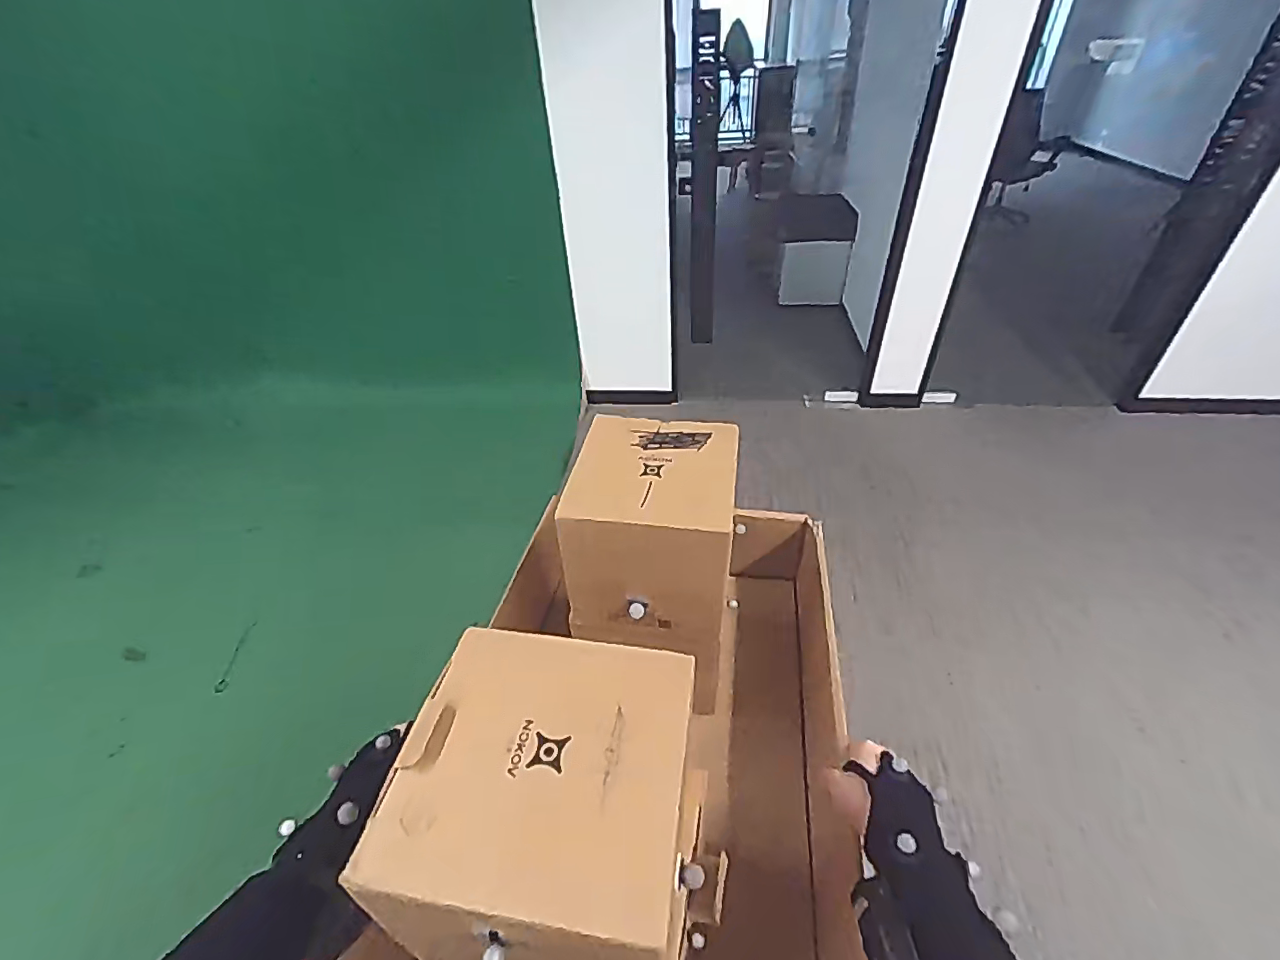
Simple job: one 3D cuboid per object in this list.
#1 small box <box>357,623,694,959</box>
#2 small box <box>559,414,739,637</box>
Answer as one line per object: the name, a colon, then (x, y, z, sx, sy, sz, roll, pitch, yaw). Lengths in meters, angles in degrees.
small box: (-0.057, 0.231, 0.394, 0.179, 0.176, 0.168, 5, 39, 7)
small box: (0.018, 0.047, 0.610, 0.168, 0.176, 0.179, 5, 41, 9)
